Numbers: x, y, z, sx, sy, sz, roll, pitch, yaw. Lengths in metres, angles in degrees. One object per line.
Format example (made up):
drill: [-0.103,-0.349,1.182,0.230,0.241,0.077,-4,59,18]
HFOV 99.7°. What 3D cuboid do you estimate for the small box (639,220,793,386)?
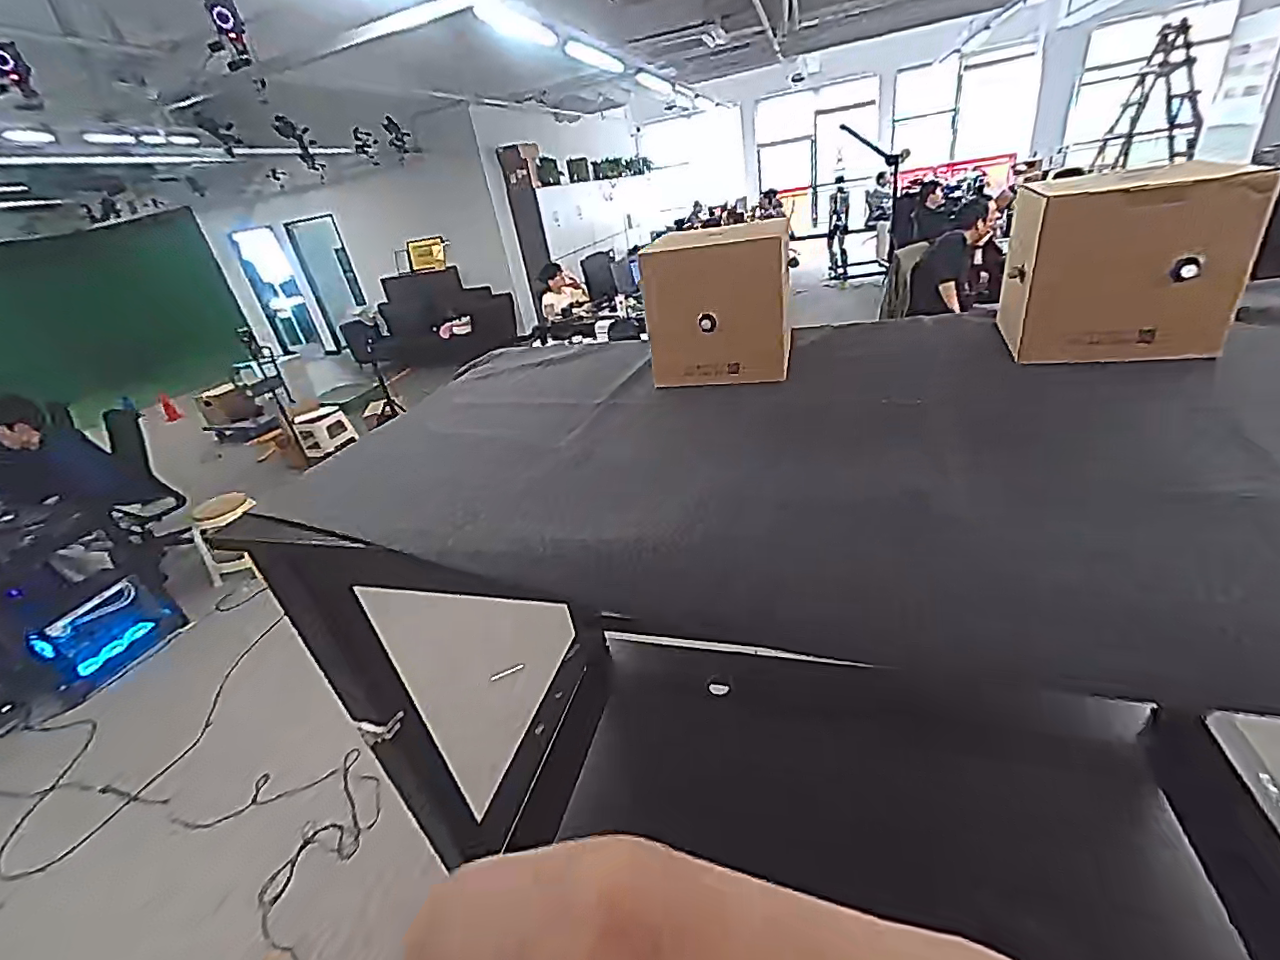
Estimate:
small box: [0.110,-0.227,0.705,0.168,0.176,0.179,1,30,18]

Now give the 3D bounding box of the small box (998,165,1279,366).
small box: [0.504,-0.226,0.581,0.168,0.176,0.179,4,31,23]
